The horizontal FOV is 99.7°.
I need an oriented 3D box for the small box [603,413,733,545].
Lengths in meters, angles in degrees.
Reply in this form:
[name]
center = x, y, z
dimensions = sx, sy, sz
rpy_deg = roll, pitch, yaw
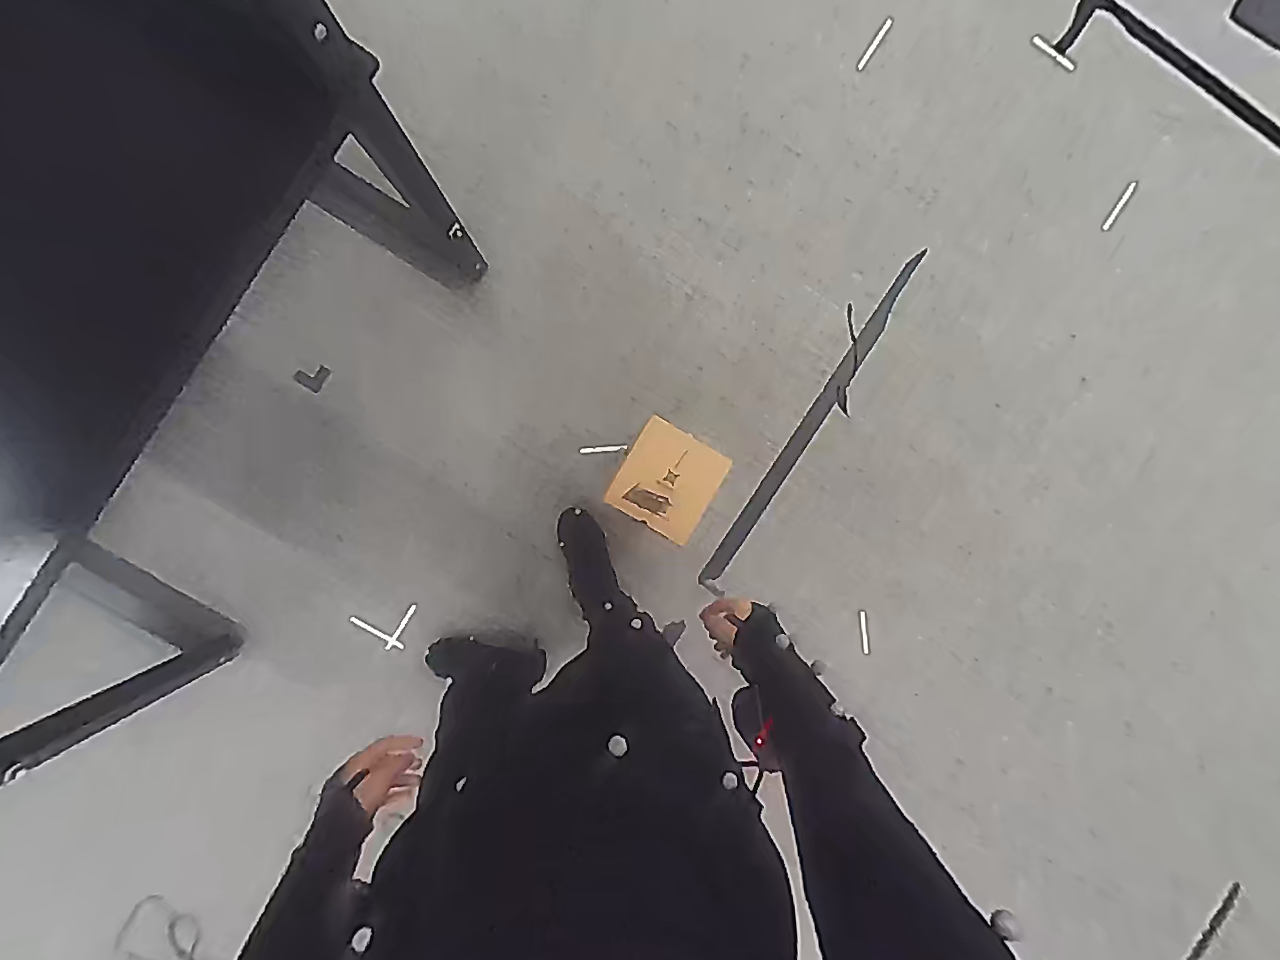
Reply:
[small box]
center = 0.045, -0.004, 1.005
dimensions = 0.168, 0.176, 0.179
rpy_deg = 31, 90, -5
